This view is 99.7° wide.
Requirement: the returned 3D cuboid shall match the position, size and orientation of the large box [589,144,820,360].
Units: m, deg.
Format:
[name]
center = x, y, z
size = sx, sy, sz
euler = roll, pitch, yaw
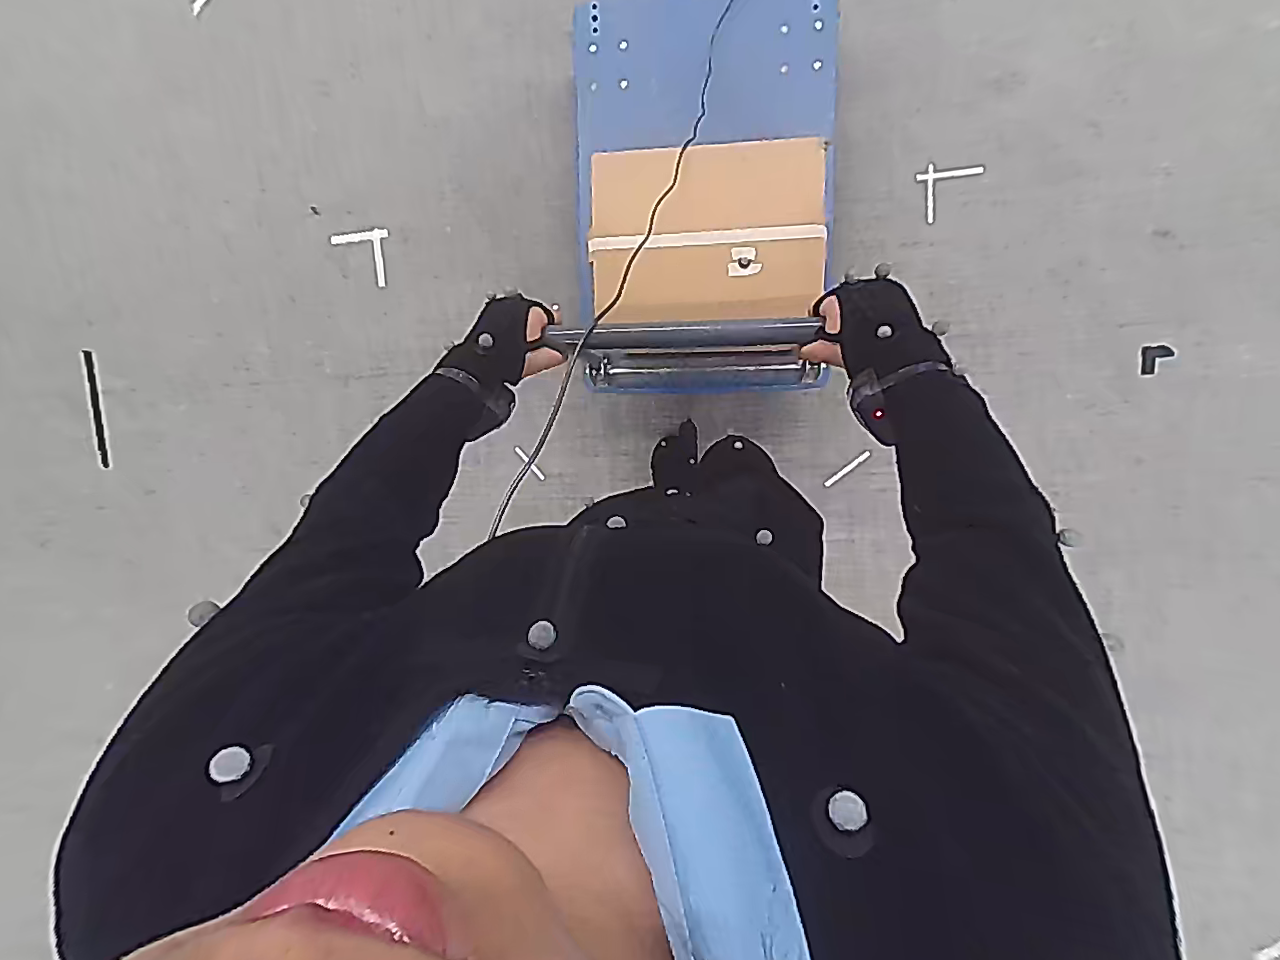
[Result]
[large box]
center = 0.125, -0.425, 1.093
size = 0.408, 0.320, 0.320
euler = 0, 96, 6
